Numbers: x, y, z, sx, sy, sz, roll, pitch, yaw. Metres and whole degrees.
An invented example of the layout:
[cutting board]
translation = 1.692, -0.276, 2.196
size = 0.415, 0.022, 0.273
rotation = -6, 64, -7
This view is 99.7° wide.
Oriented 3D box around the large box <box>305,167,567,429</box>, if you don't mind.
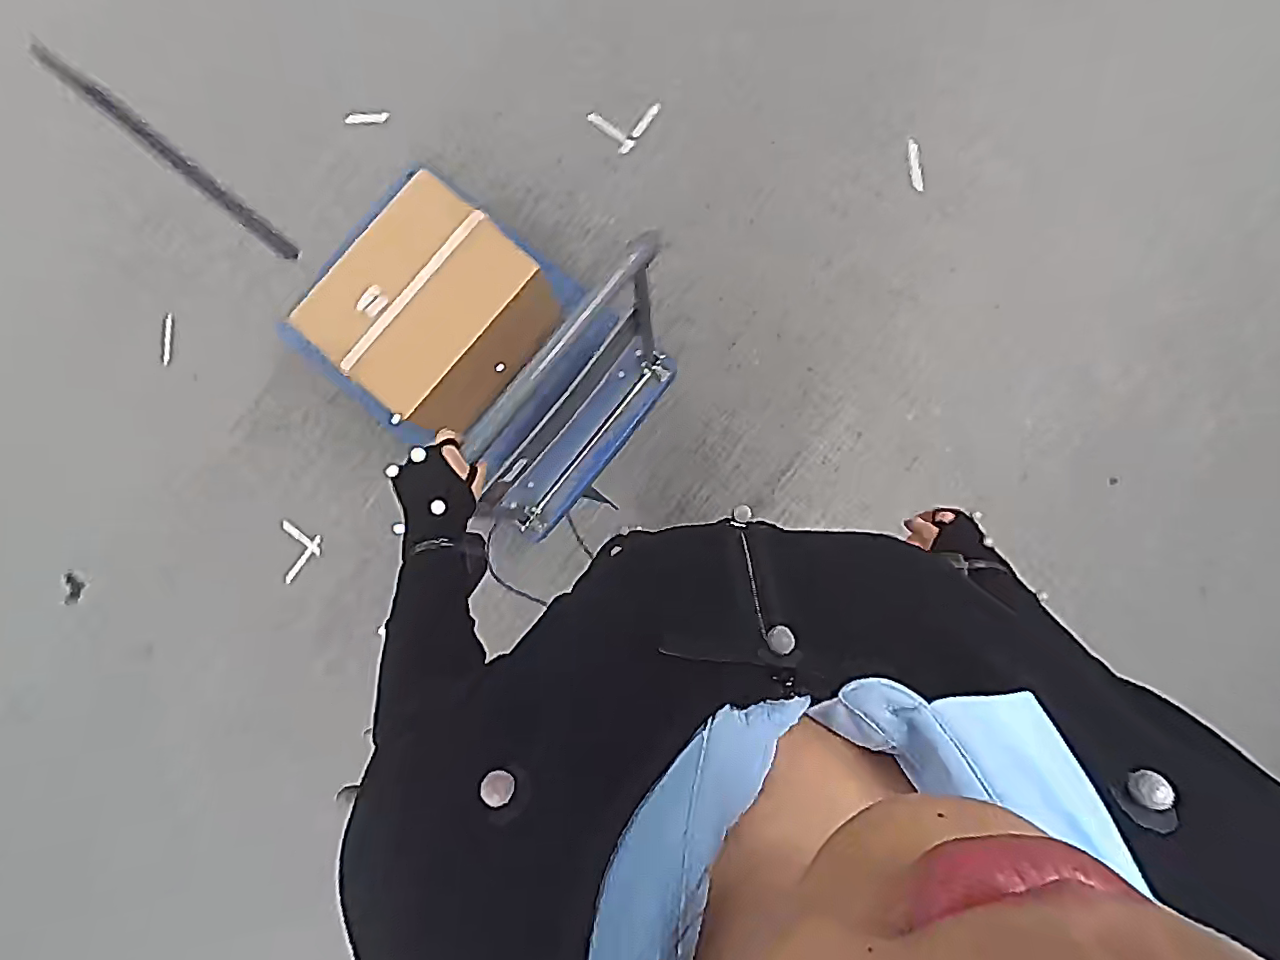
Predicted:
[large box]
translation = -0.422, -0.373, 1.215
size = 0.320, 0.320, 0.408
rotation = 41, 90, 3
